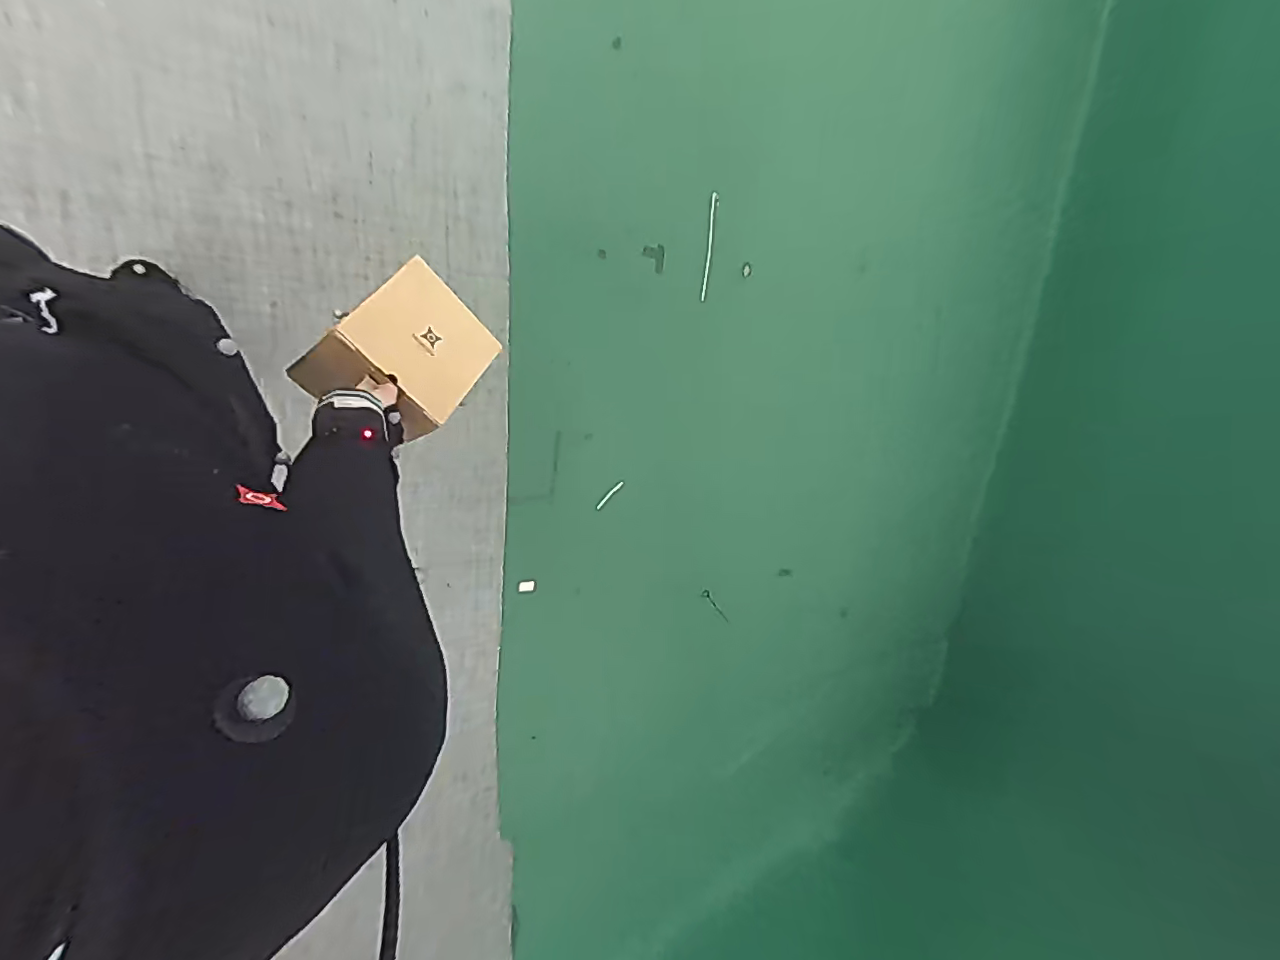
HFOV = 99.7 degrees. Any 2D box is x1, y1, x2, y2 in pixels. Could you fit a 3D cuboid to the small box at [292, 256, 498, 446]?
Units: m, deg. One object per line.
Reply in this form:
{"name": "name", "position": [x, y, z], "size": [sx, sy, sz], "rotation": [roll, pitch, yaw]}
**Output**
{"name": "small box", "position": [-0.343, -0.173, 0.762], "size": [0.168, 0.176, 0.179], "rotation": [49, 47, -31]}
